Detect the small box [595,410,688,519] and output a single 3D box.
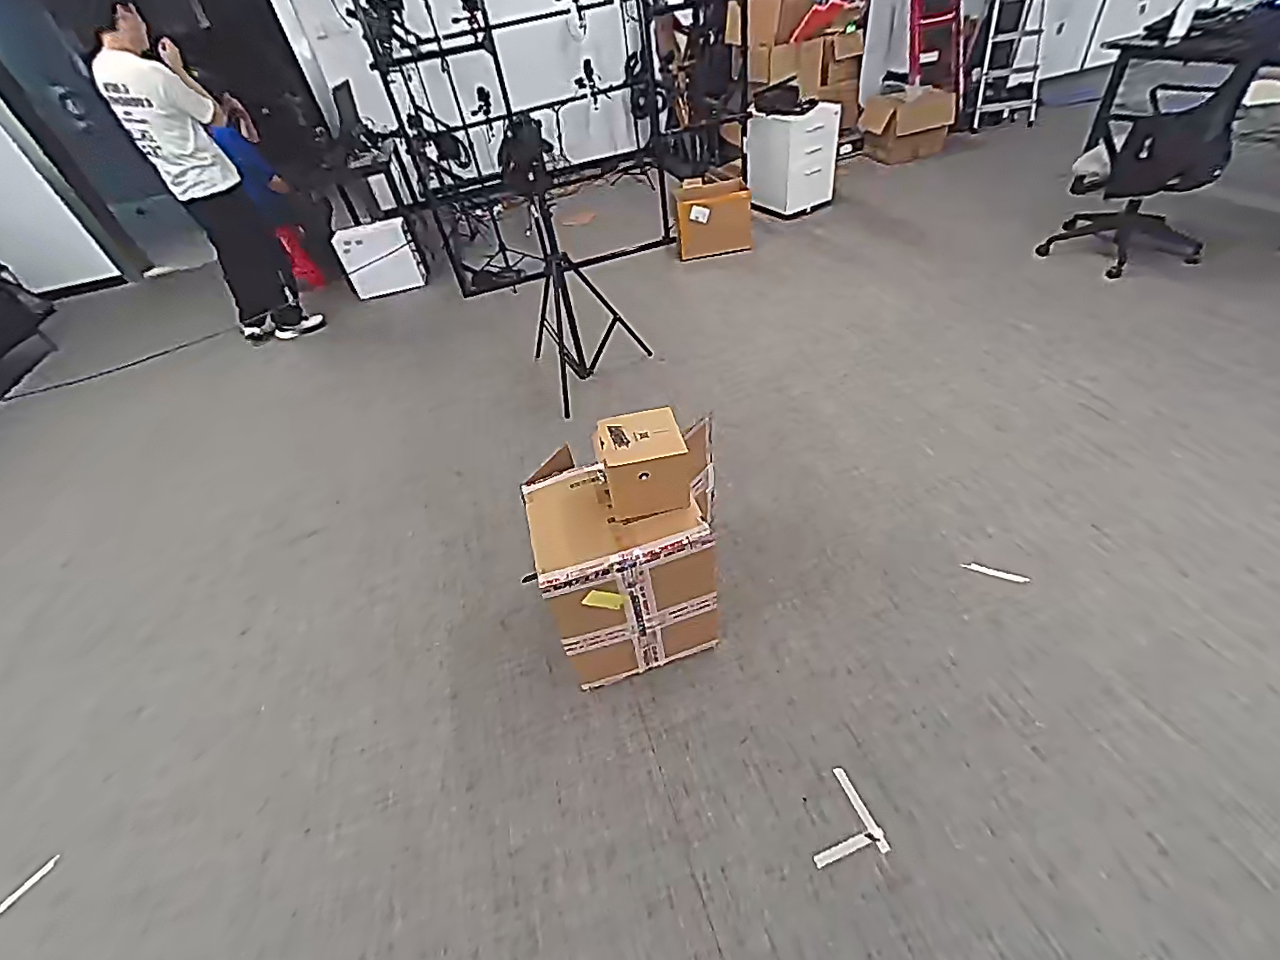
[{"bbox_3d":[0.005,-0.032,1.229,0.179,0.176,0.168,-12,44,-5],"label":"small box"}]
